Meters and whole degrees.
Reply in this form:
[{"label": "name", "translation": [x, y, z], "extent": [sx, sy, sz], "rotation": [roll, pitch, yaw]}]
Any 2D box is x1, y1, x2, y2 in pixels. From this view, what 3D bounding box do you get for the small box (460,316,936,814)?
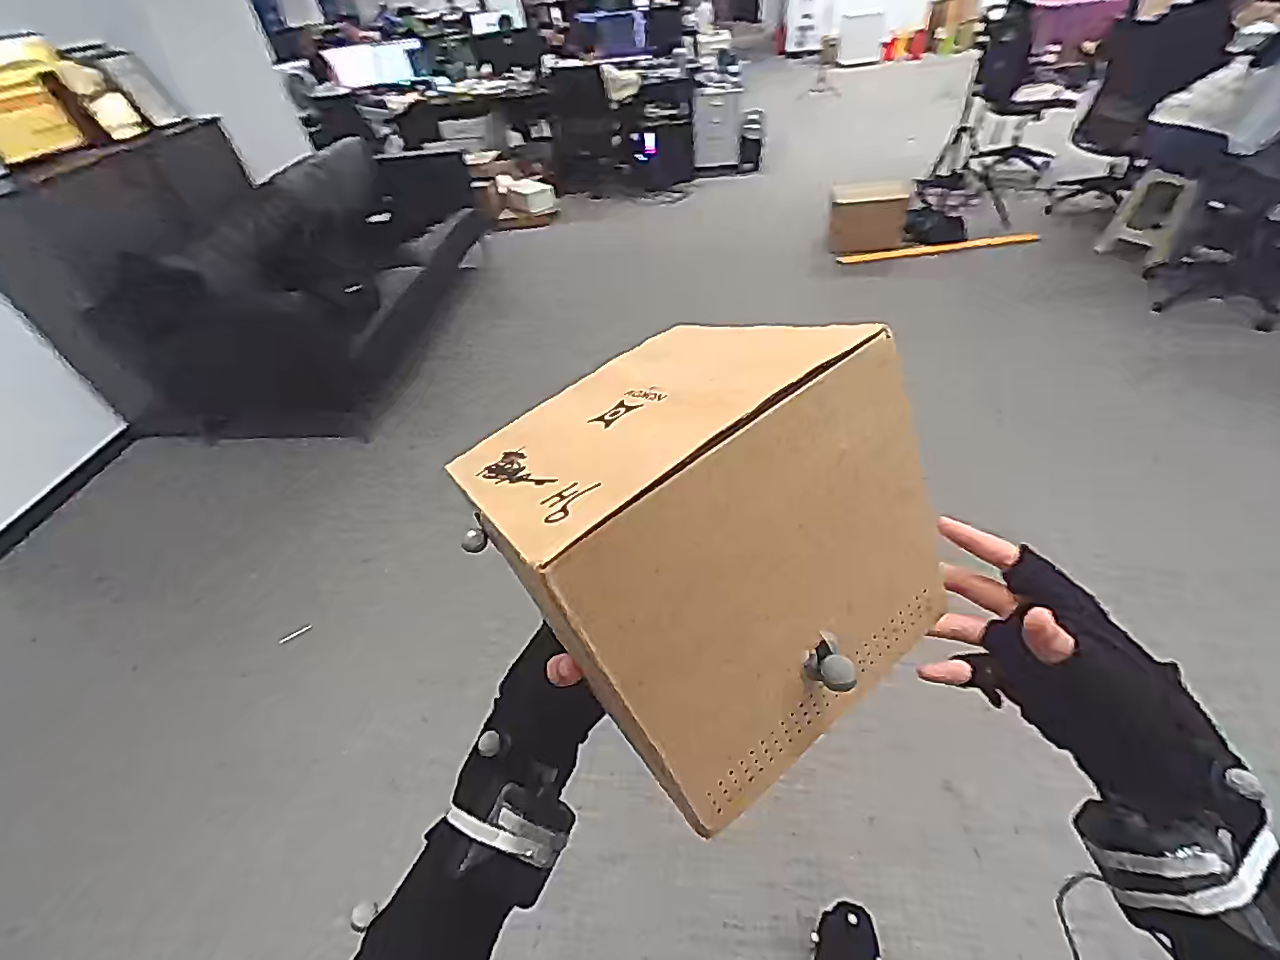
[{"label": "small box", "translation": [0.034, 0.025, 0.296], "extent": [0.179, 0.176, 0.168], "rotation": [-33, 27, -17]}]
